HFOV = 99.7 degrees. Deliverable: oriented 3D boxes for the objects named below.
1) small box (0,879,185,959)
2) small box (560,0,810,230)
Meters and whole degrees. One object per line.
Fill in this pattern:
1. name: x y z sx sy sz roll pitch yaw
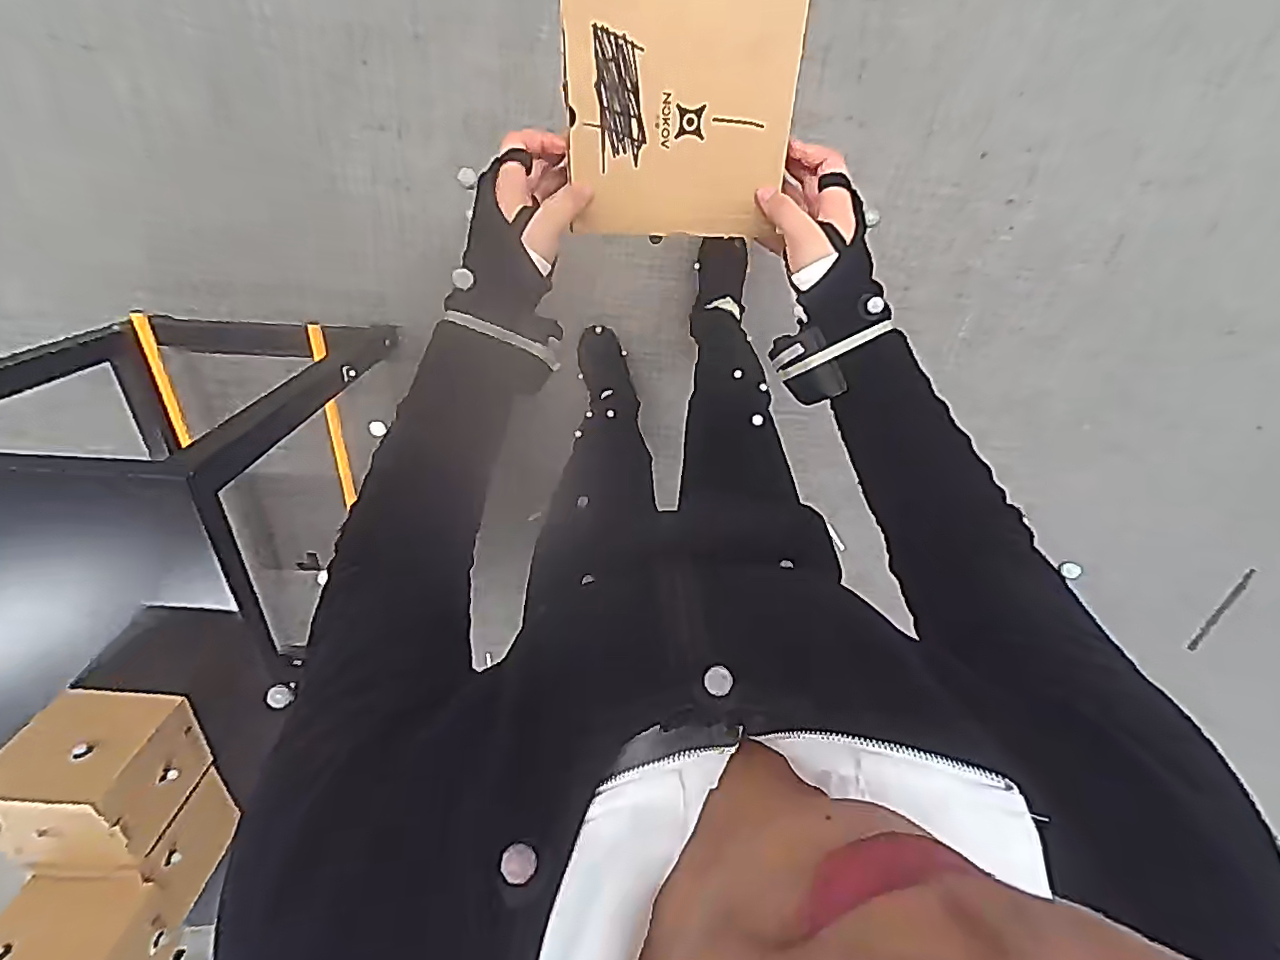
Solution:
1. small box: -0.808 0.693 0.762 0.179 0.176 0.168 5 121 -6
2. small box: 0.029 -0.325 0.478 0.179 0.176 0.168 0 124 -2
